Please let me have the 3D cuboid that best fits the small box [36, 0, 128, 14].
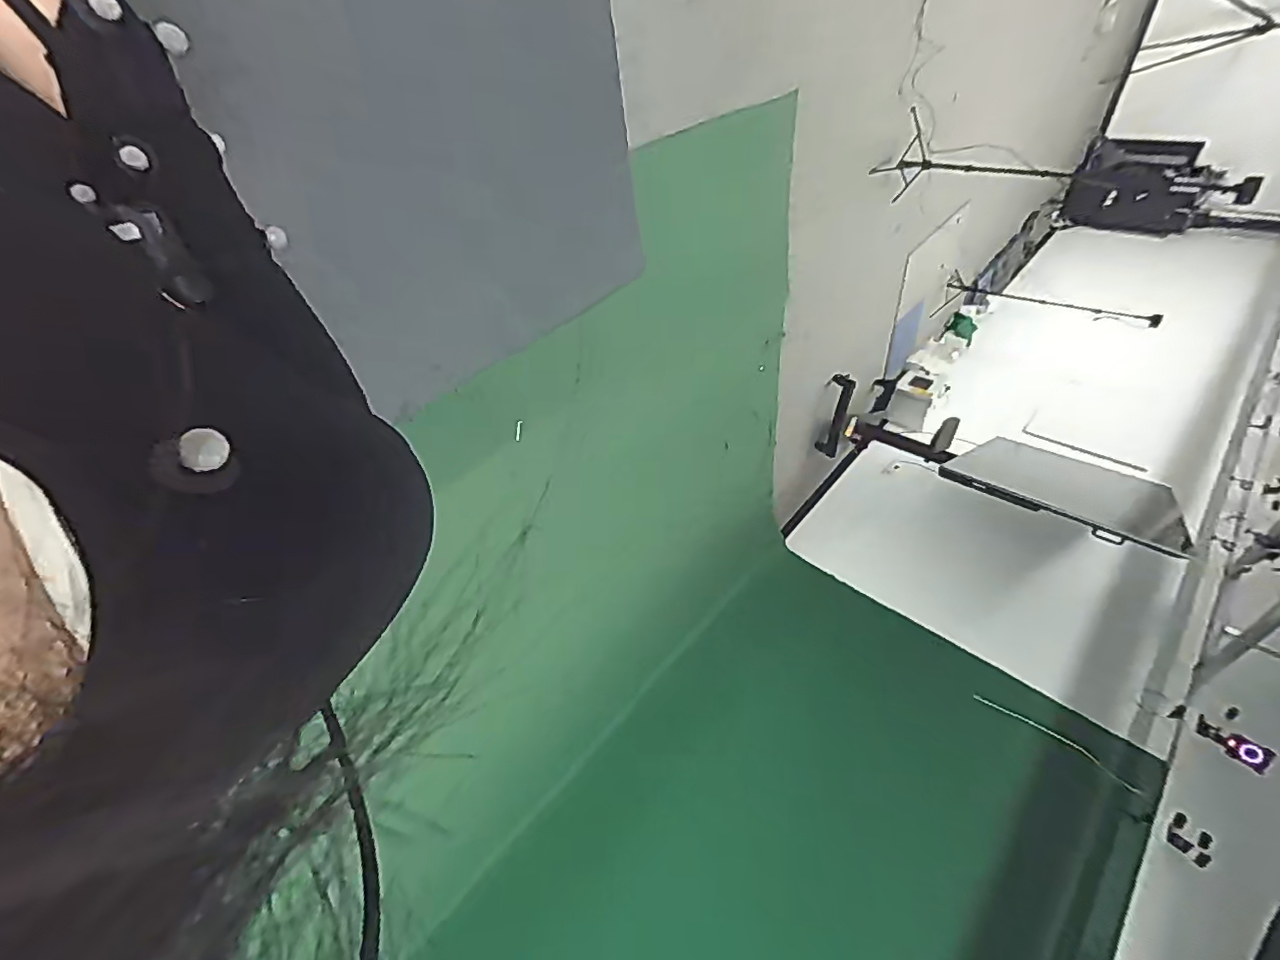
[{"bbox_3d":[-0.886,-0.806,0.778,0.168,0.176,0.179,-25,130,-41],"label":"small box"}]
